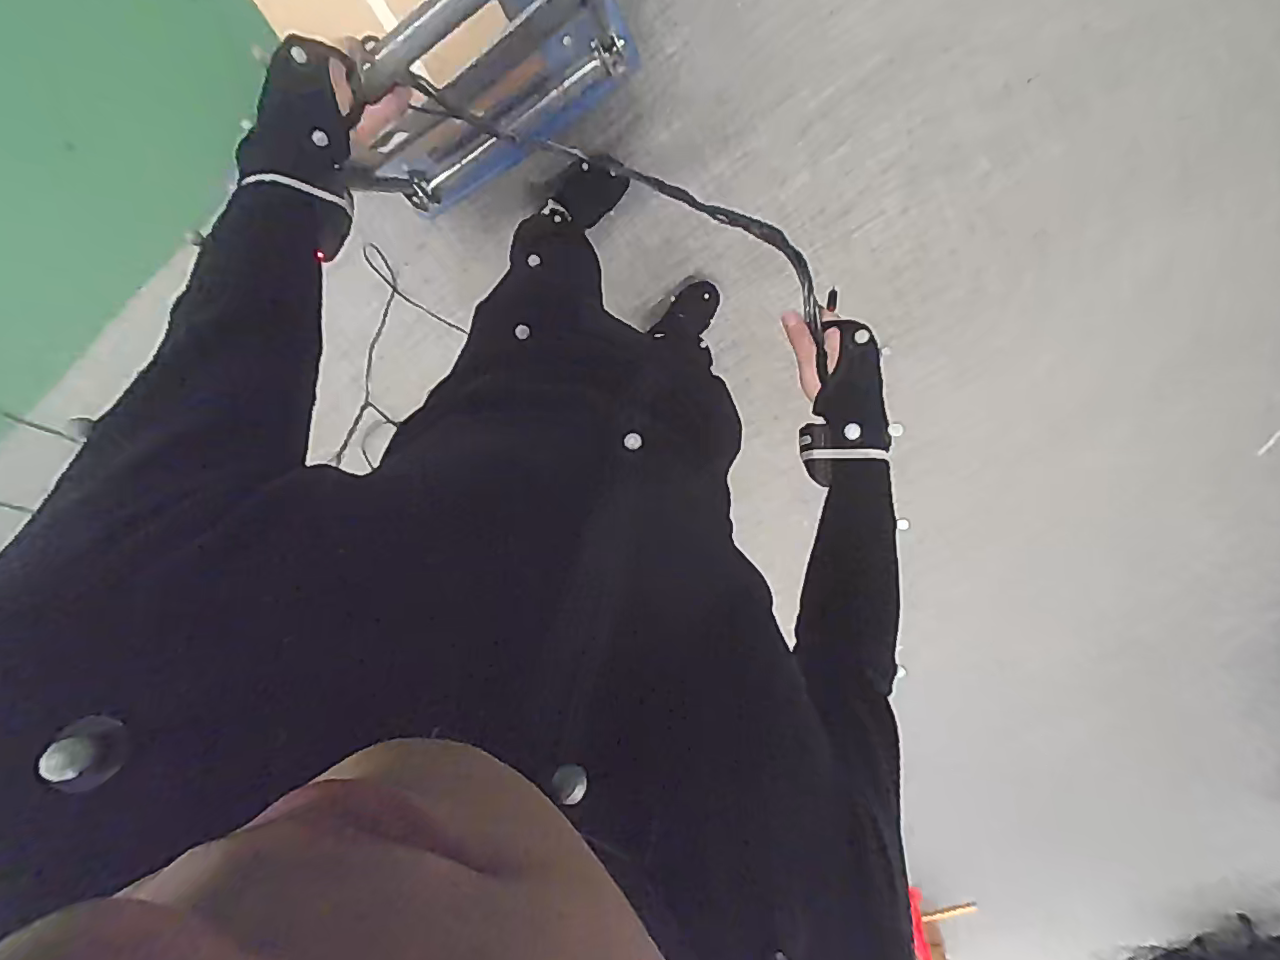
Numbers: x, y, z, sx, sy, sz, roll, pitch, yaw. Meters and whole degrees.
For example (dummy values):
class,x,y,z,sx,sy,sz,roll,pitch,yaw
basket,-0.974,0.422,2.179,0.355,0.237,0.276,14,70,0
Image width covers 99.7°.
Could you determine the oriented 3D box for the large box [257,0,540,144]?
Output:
class,x,y,z,sx,sy,sz,roll,pitch,yaw
large box,-0.420,-0.833,0.876,0.320,0.320,0.408,-26,118,14
